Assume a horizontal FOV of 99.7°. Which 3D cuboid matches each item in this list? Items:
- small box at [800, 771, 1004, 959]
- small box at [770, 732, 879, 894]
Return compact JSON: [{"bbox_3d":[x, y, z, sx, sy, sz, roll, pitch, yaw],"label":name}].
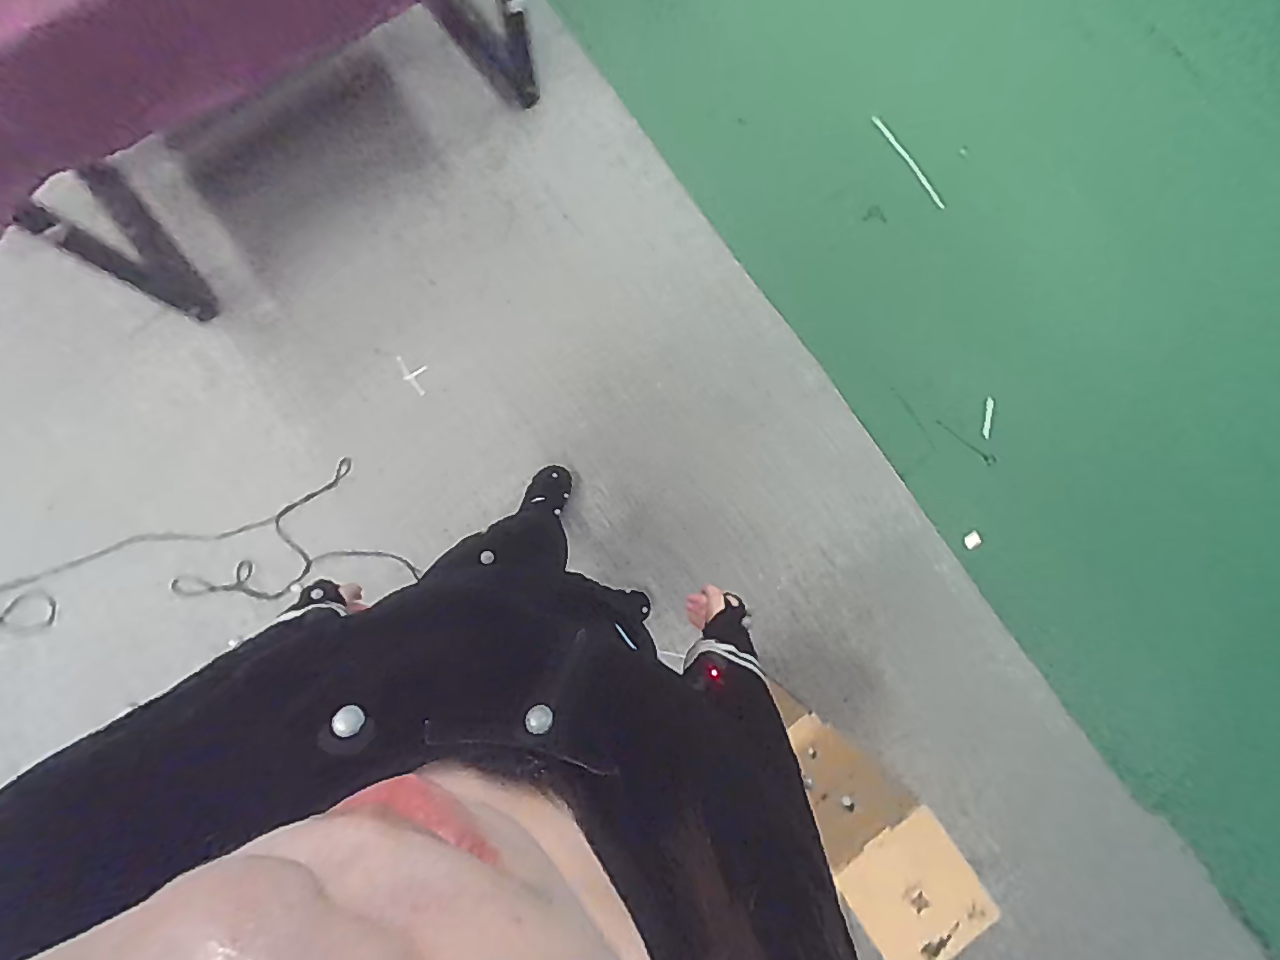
[{"bbox_3d":[0.365,0.562,0.792,0.168,0.176,0.179,-33,85,-5],"label":"small box"},{"bbox_3d":[0.360,0.585,0.954,0.168,0.176,0.179,-34,85,-6],"label":"small box"}]
